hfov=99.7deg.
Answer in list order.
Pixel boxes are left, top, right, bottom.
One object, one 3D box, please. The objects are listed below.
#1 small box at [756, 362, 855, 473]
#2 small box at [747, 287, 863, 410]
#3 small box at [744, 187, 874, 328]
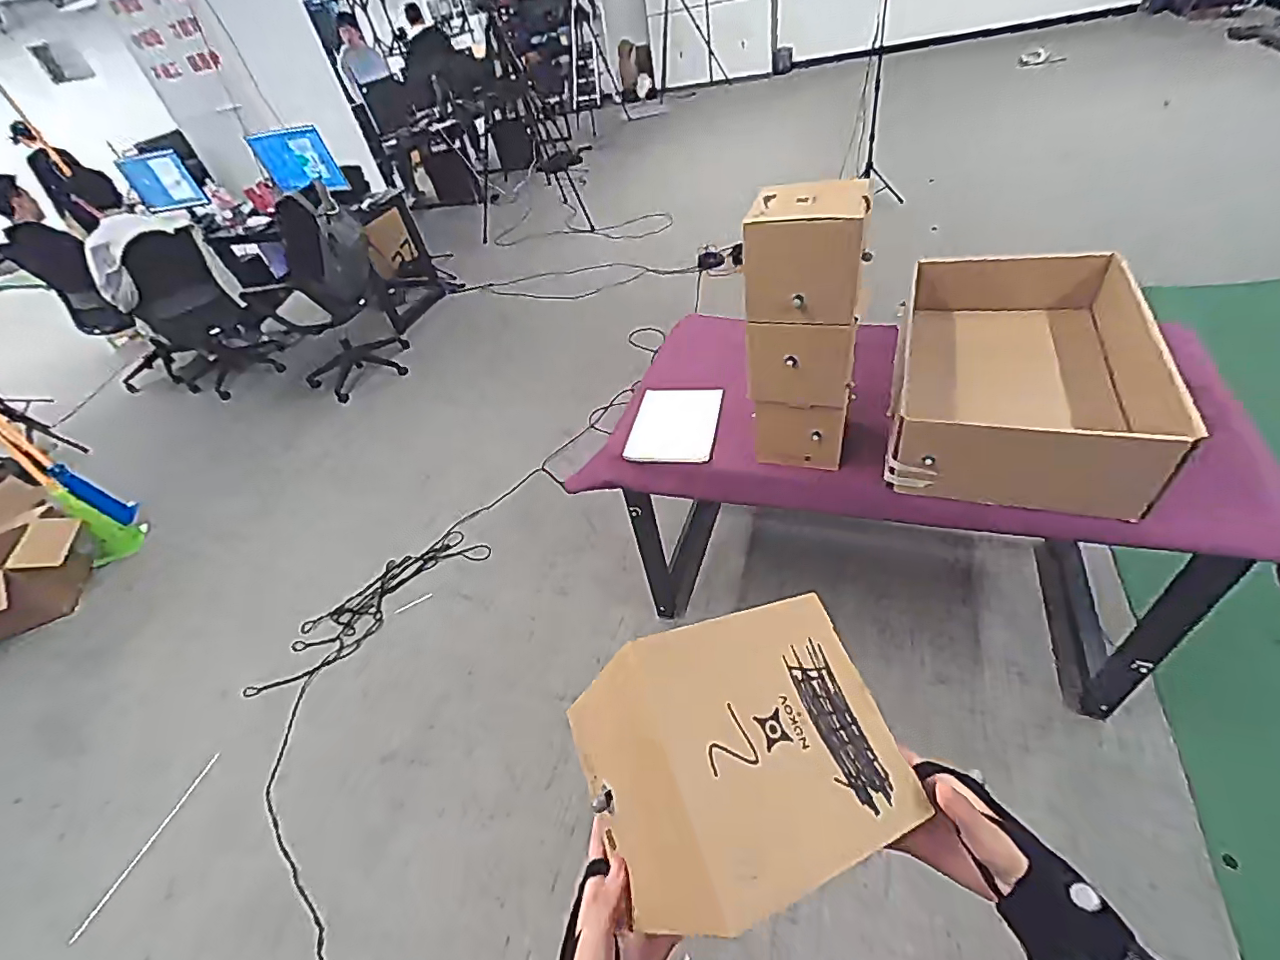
[{"bbox_3d":[0.344,-0.135,1.120,0.168,0.176,0.179,8,45,22],"label":"small box"},{"bbox_3d":[0.306,-0.247,1.007,0.179,0.176,0.168,8,46,22],"label":"small box"},{"bbox_3d":[0.278,-0.365,0.897,0.179,0.176,0.168,8,45,21],"label":"small box"}]
